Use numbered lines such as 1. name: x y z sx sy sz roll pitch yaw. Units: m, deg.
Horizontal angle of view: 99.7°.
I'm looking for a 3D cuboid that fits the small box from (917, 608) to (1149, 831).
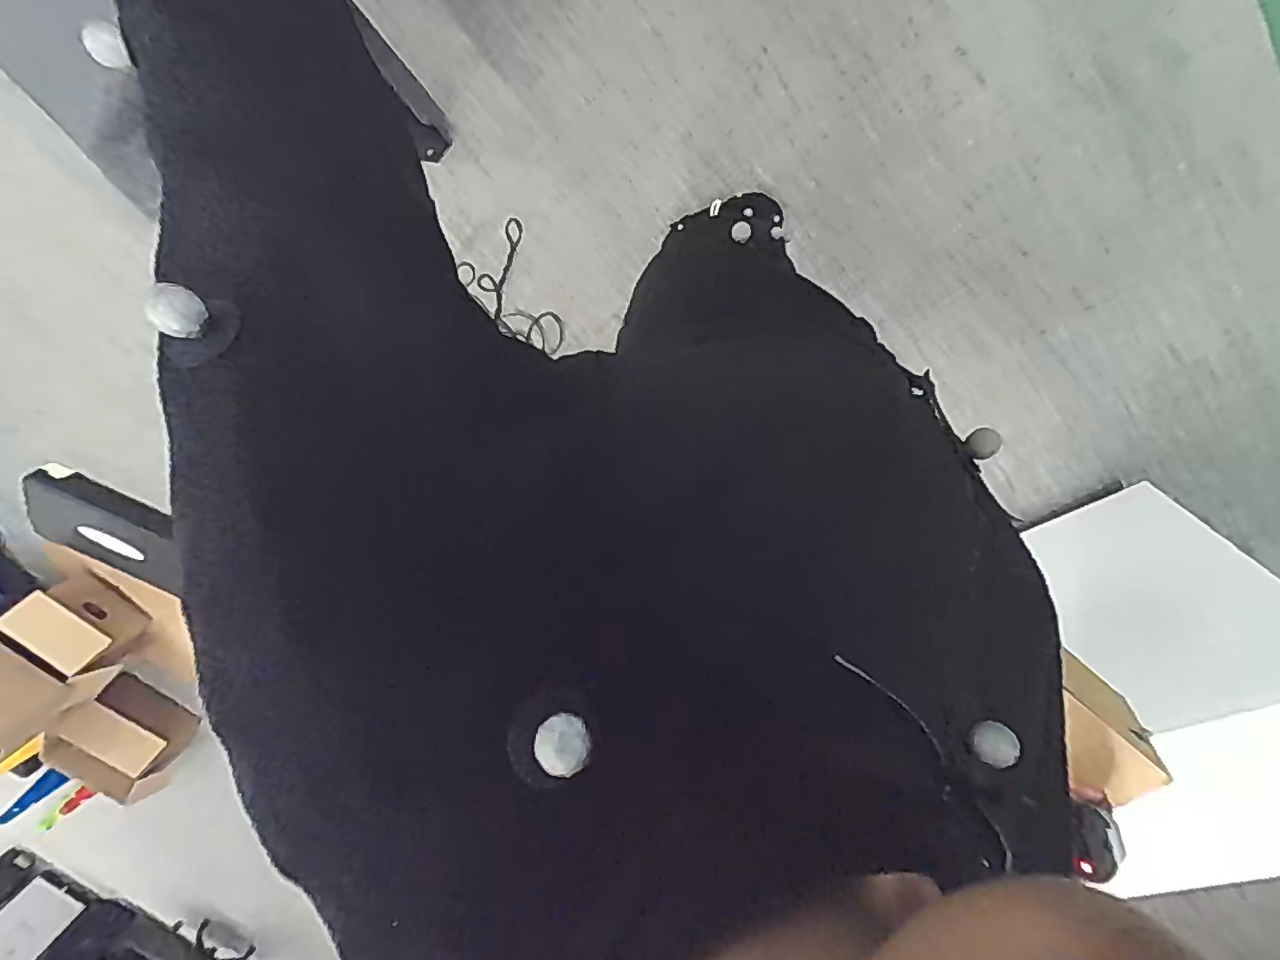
1. small box: 0.494 0.301 0.717 0.176 0.179 0.168 43 117 13
